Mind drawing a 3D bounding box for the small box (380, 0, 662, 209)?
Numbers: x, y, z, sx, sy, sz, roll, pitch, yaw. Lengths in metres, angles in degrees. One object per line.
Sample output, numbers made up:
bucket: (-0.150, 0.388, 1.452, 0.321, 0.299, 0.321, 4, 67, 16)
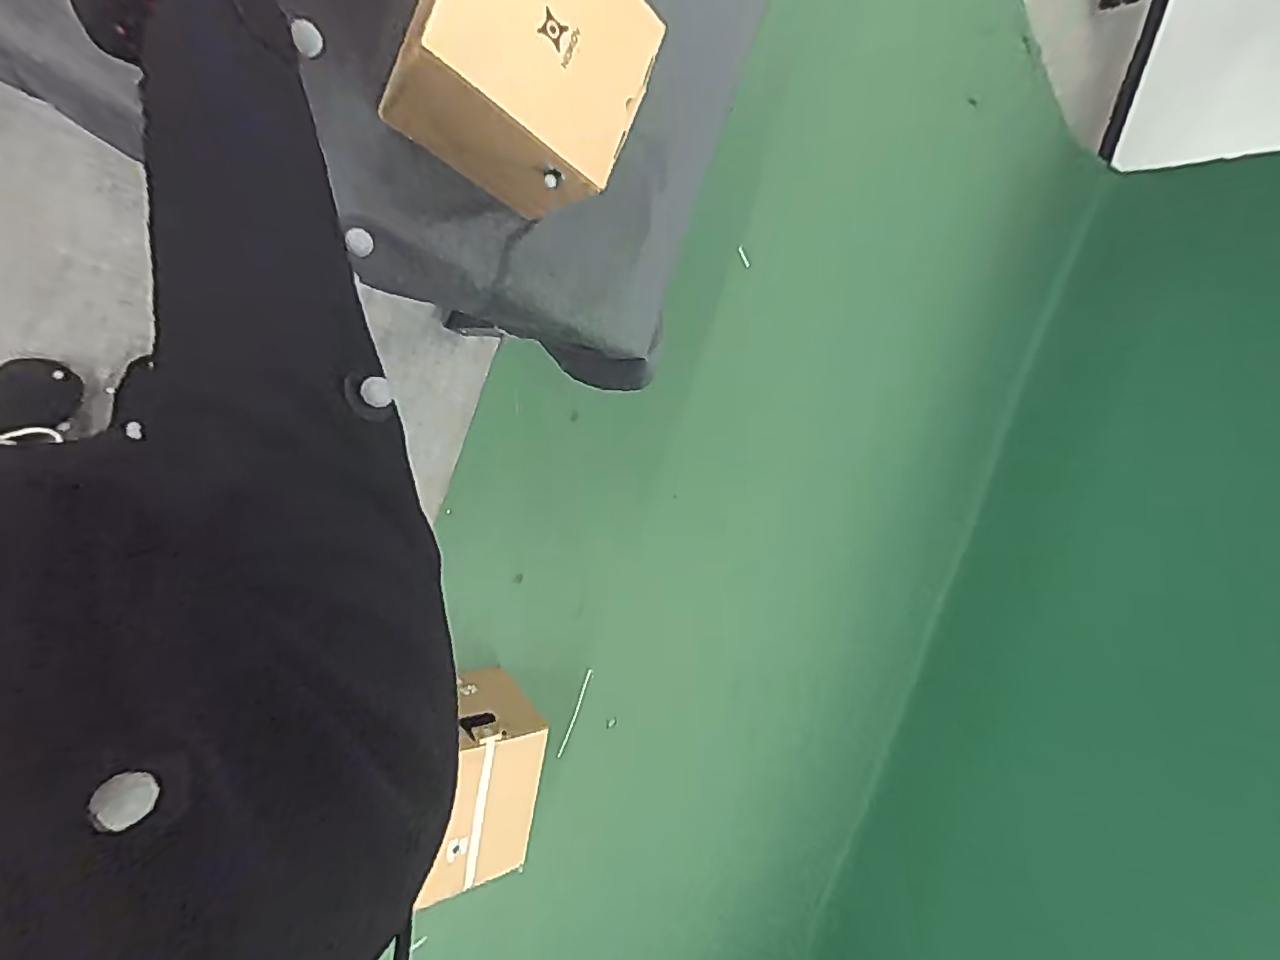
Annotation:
small box: (-0.117, -0.382, 0.504, 0.179, 0.176, 0.168, 21, 90, -40)
